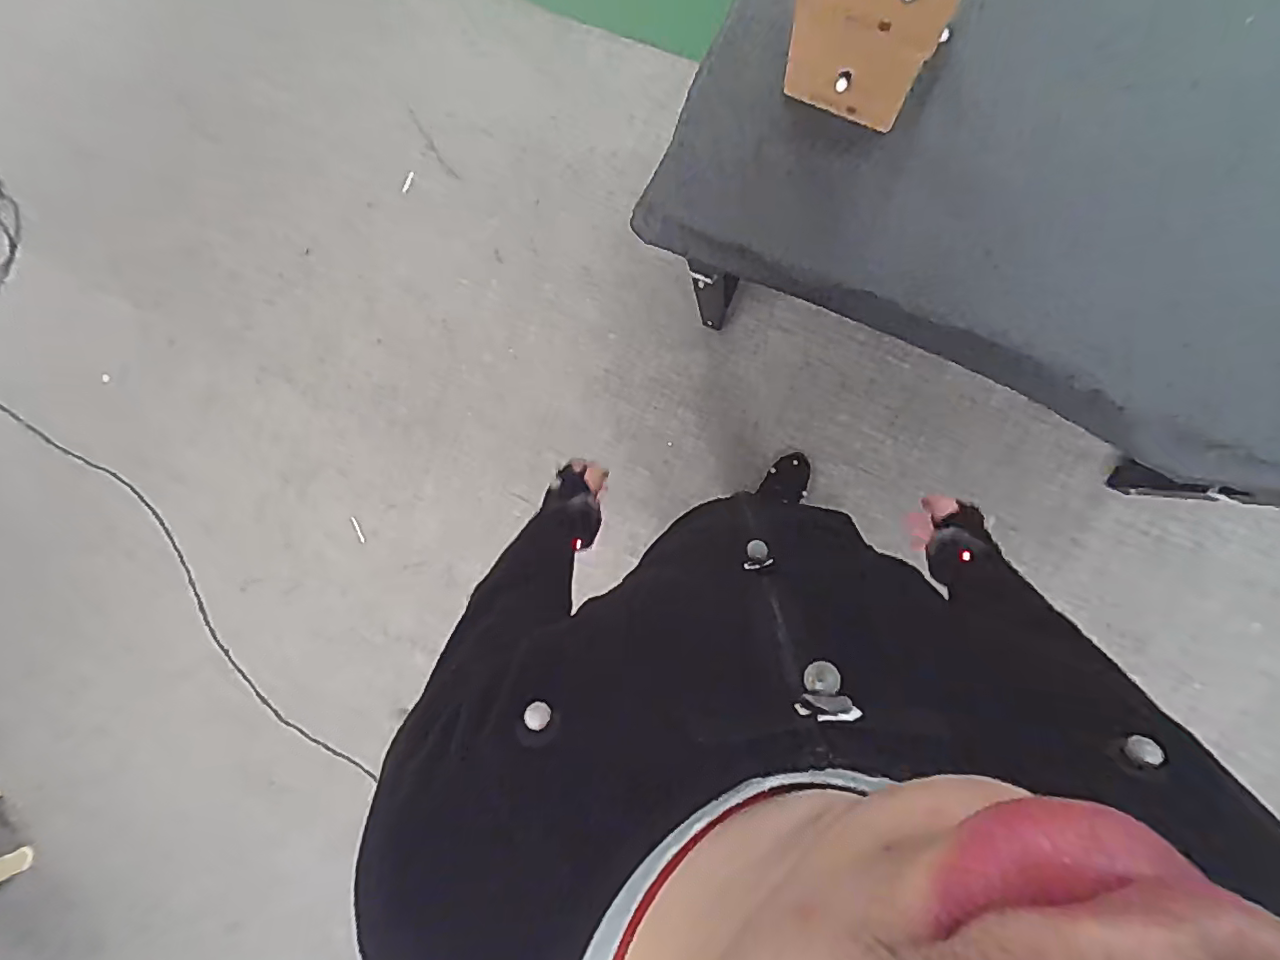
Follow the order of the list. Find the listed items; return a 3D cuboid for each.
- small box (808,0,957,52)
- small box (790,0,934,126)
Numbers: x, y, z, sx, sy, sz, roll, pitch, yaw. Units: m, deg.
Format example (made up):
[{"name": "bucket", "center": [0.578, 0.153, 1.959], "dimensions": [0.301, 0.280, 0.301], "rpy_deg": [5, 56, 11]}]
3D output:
[{"name": "small box", "center": [0.275, -0.584, 0.535], "dimensions": [0.168, 0.176, 0.179], "rpy_deg": [24, 95, 6]}, {"name": "small box", "center": [0.306, -0.605, 0.694], "dimensions": [0.168, 0.176, 0.179], "rpy_deg": [27, 97, 6]}]
